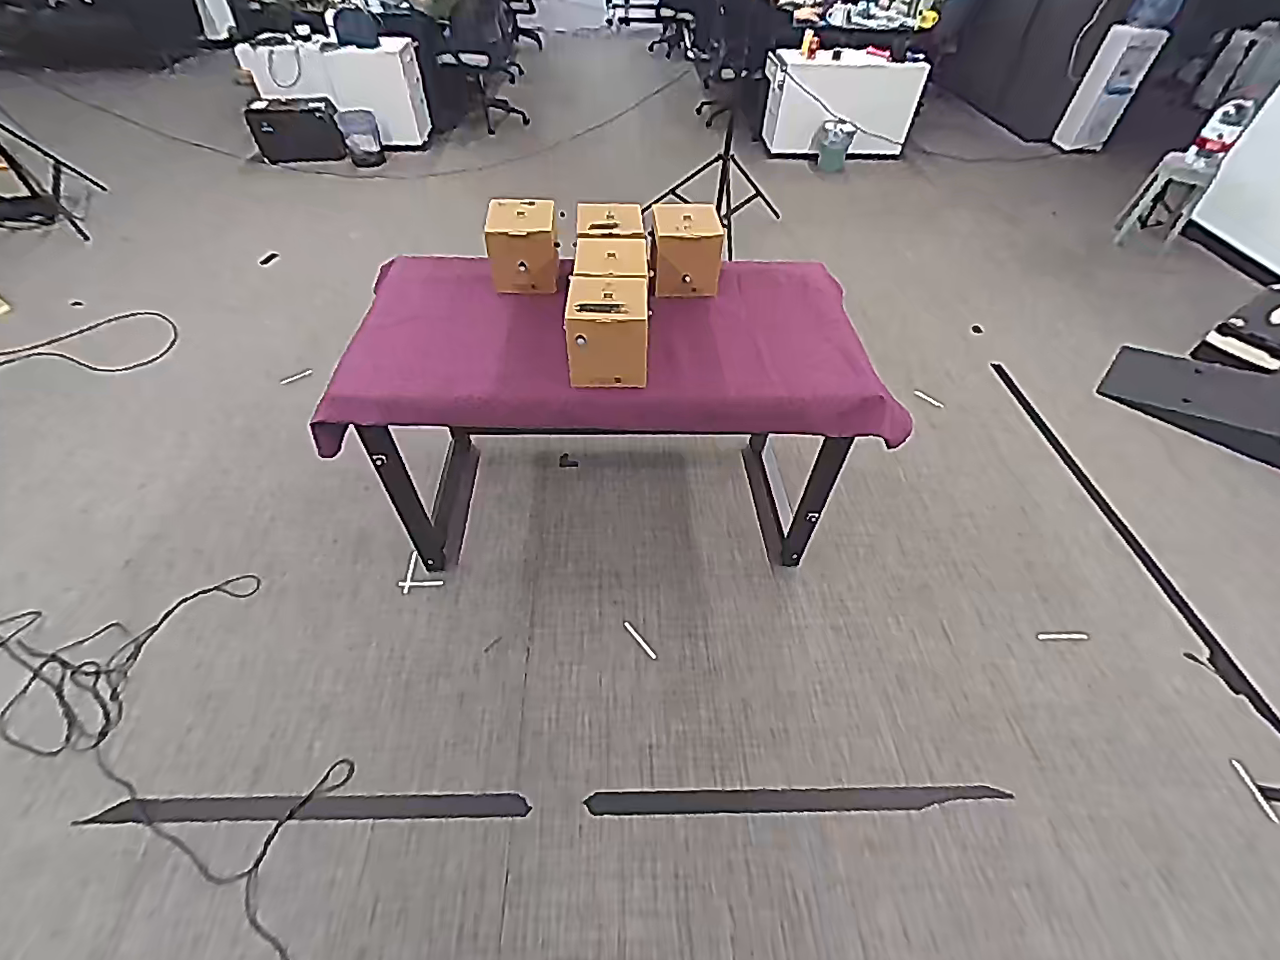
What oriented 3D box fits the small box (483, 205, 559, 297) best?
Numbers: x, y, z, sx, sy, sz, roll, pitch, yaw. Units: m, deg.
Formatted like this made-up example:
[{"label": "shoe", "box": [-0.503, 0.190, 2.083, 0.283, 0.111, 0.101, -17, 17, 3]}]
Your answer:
[{"label": "small box", "box": [-0.304, -0.599, 1.421, 0.168, 0.176, 0.179, -2, 51, -3]}]
